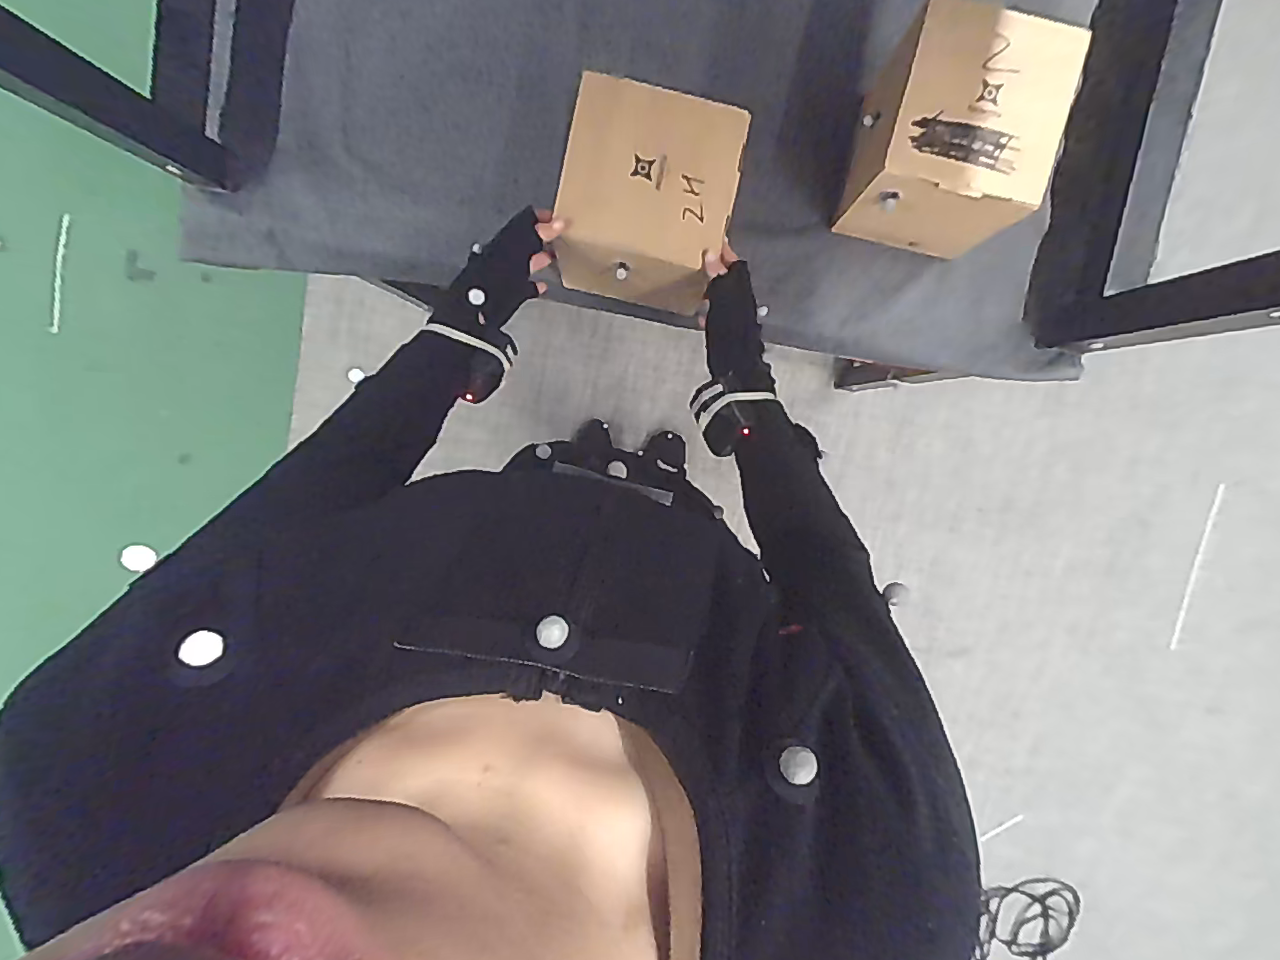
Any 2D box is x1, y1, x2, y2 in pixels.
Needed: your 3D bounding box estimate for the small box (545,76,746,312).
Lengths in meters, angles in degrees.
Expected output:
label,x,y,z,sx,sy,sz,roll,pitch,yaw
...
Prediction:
label,x,y,z,sx,sy,sz,roll,pitch,yaw
small box,0.002,-0.310,0.626,0.179,0.176,0.168,13,91,-3
